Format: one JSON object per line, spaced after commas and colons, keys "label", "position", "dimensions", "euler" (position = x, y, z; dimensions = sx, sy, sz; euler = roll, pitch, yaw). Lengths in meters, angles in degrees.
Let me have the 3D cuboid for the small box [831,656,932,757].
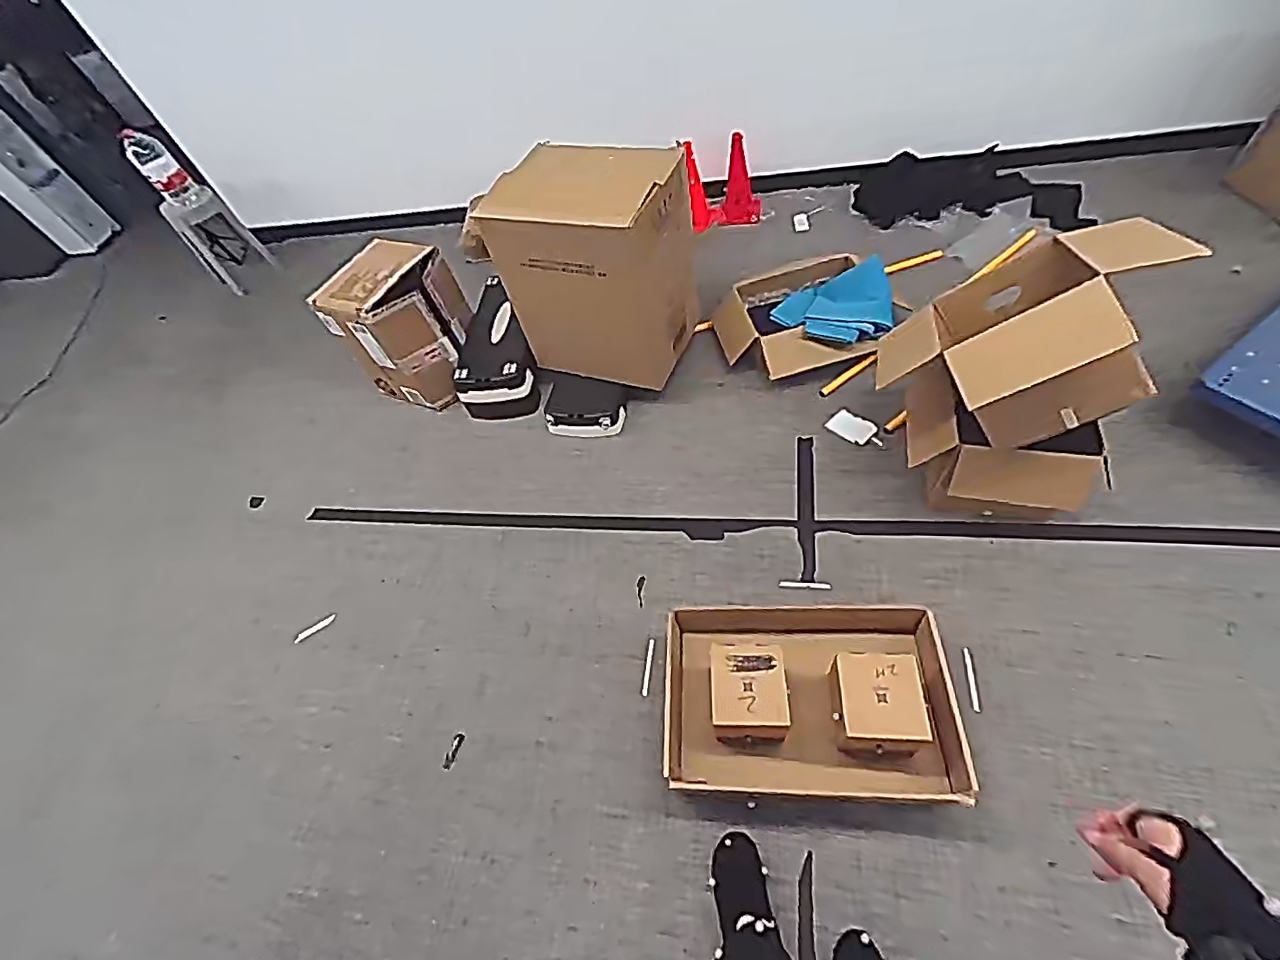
{"label": "small box", "position": [0.526, 0.507, 1.203], "dimensions": [0.168, 0.176, 0.179], "euler": [-2, 54, 11]}
